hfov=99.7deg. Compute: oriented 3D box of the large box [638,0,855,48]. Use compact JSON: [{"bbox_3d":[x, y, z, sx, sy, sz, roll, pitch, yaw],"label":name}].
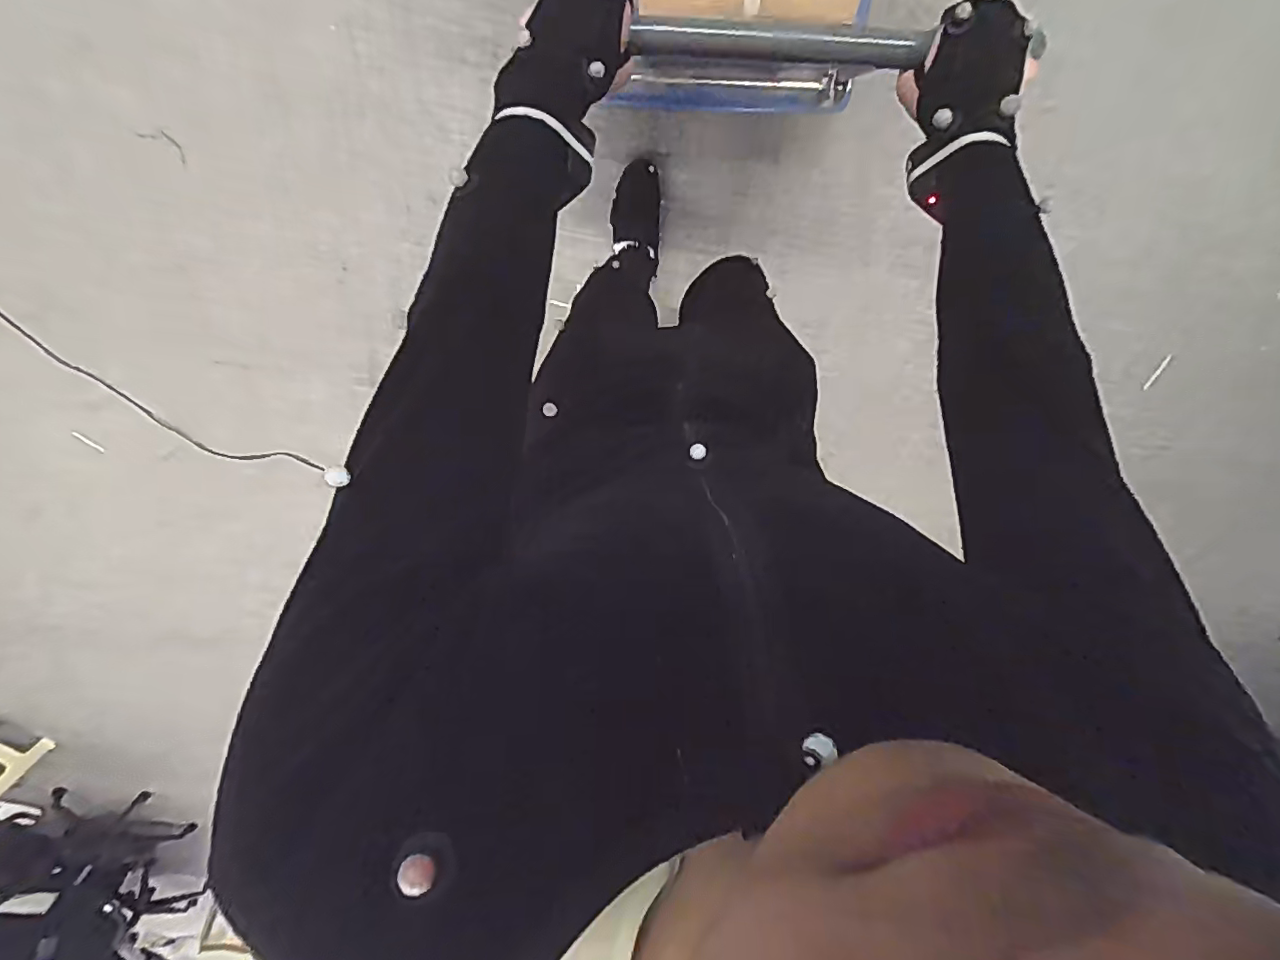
[{"bbox_3d":[0.155,-0.907,0.797,0.320,0.320,0.408,1,123,-1],"label":"large box"}]
